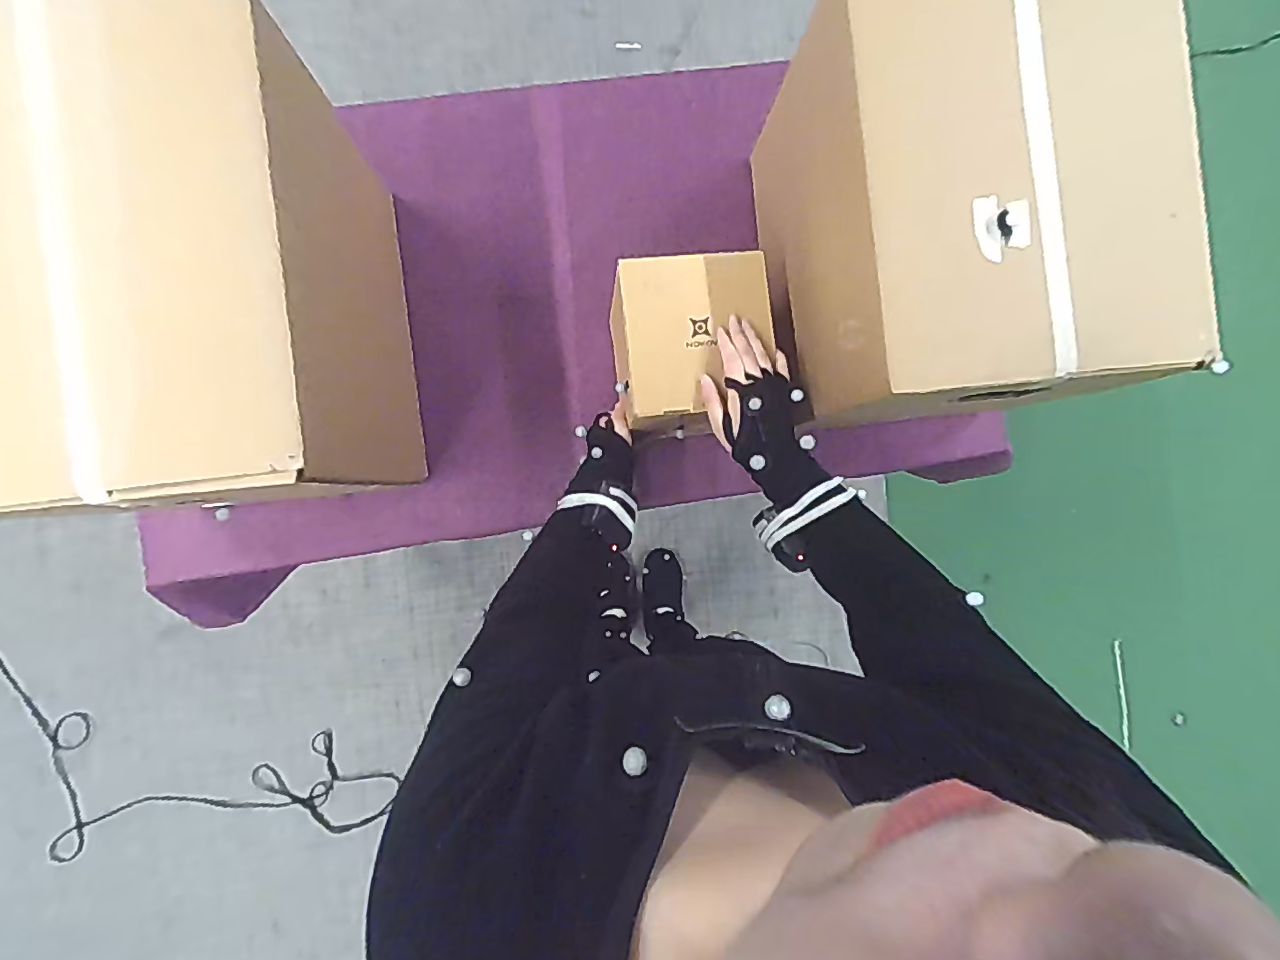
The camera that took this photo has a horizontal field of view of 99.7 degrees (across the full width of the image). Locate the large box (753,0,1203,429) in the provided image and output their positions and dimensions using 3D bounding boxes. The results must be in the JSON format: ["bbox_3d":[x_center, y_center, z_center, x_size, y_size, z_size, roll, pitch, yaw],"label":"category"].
[{"bbox_3d":[0.344,-0.286,0.642,0.320,0.320,0.408,-5,90,-4],"label":"large box"}]
